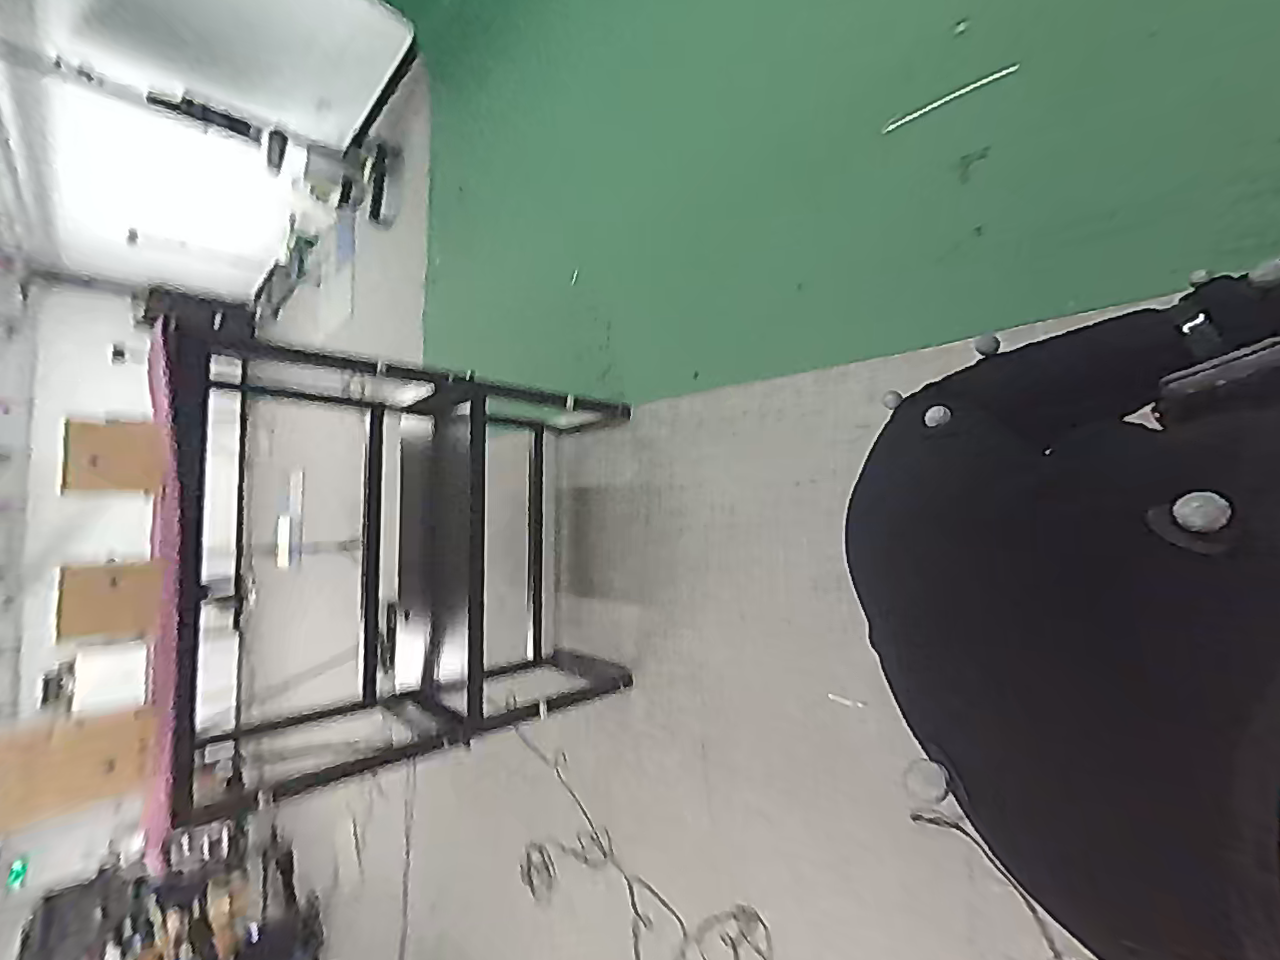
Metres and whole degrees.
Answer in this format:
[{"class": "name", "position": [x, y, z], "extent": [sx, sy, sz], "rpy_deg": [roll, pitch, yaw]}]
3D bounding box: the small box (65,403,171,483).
[{"class": "small box", "position": [-1.233, -0.079, 1.287], "extent": [0.168, 0.176, 0.179], "rpy_deg": [-2, 87, 48]}]

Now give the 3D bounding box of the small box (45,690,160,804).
[{"class": "small box", "position": [-1.190, 0.580, 1.204], "extent": [0.179, 0.176, 0.168], "rpy_deg": [-7, 82, 45]}]

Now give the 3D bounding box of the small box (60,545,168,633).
[{"class": "small box", "position": [-1.211, 0.241, 1.250], "extent": [0.168, 0.176, 0.179], "rpy_deg": [-5, 85, 46]}]
